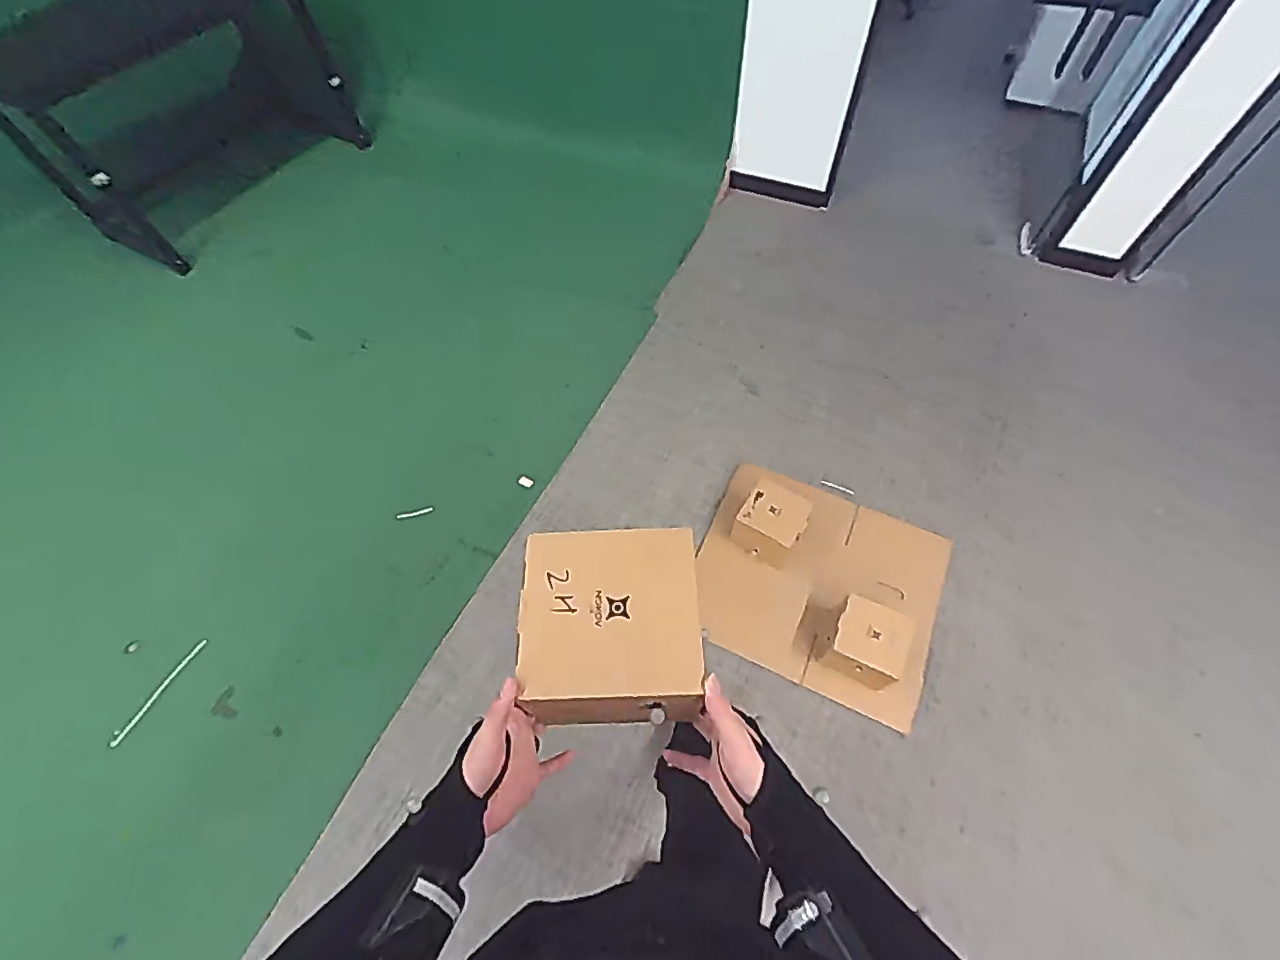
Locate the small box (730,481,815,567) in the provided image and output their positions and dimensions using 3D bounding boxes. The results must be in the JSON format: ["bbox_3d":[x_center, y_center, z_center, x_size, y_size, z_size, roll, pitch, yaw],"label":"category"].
[{"bbox_3d":[0.390,0.139,1.618,0.179,0.176,0.168,30,65,18],"label":"small box"}]

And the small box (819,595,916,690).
[{"bbox_3d":[0.597,0.438,1.439,0.179,0.176,0.168,23,64,15],"label":"small box"}]

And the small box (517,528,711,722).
[{"bbox_3d":[-0.024,0.163,0.591,0.179,0.176,0.168,-2,58,1],"label":"small box"}]
